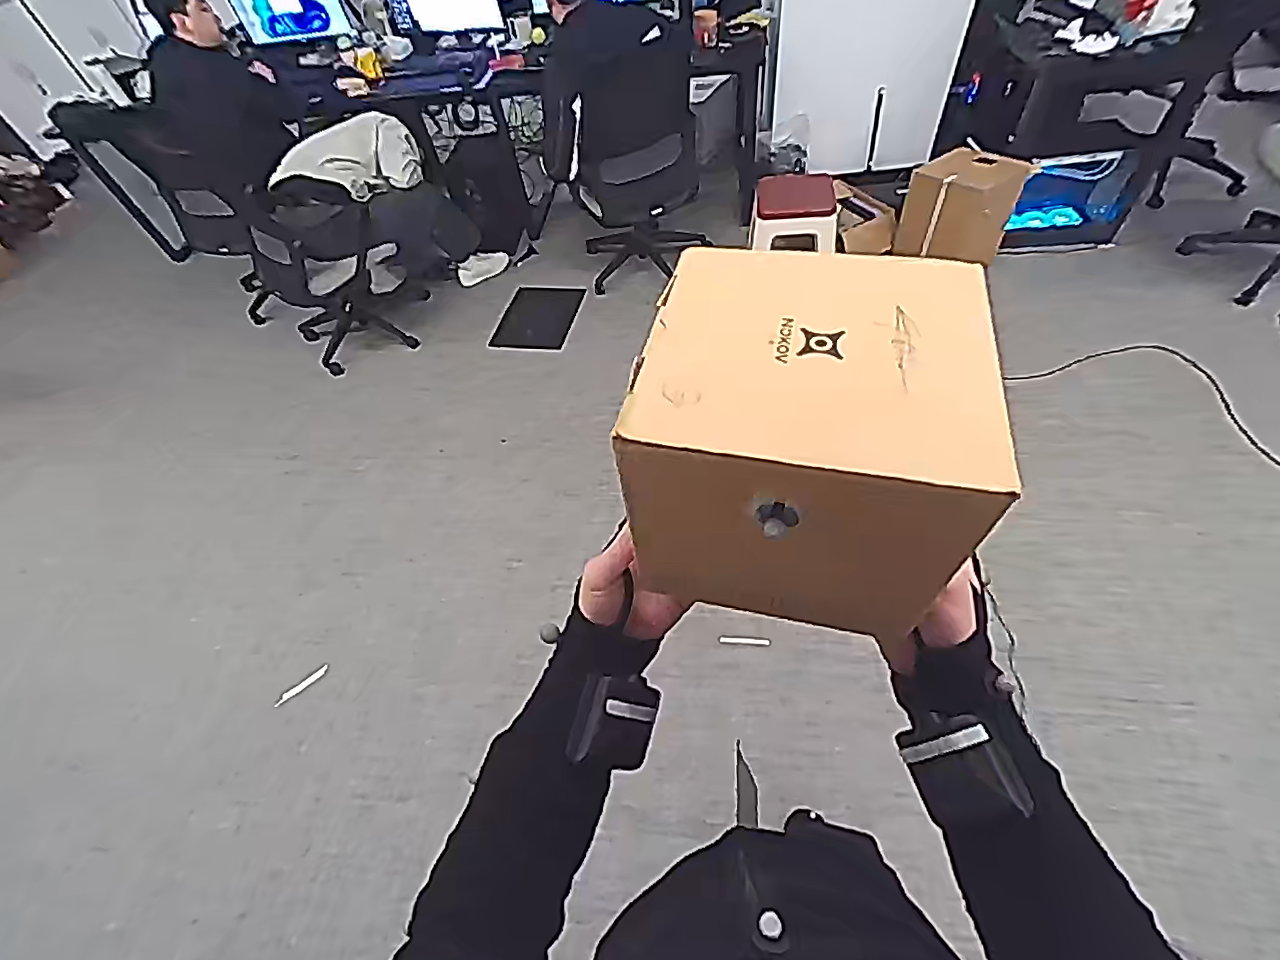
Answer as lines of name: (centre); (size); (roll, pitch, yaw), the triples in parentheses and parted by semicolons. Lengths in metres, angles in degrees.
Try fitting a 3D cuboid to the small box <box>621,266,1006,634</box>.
small box: (0.099, -0.016, 0.356); (0.179, 0.176, 0.168); (9, 55, 12)
